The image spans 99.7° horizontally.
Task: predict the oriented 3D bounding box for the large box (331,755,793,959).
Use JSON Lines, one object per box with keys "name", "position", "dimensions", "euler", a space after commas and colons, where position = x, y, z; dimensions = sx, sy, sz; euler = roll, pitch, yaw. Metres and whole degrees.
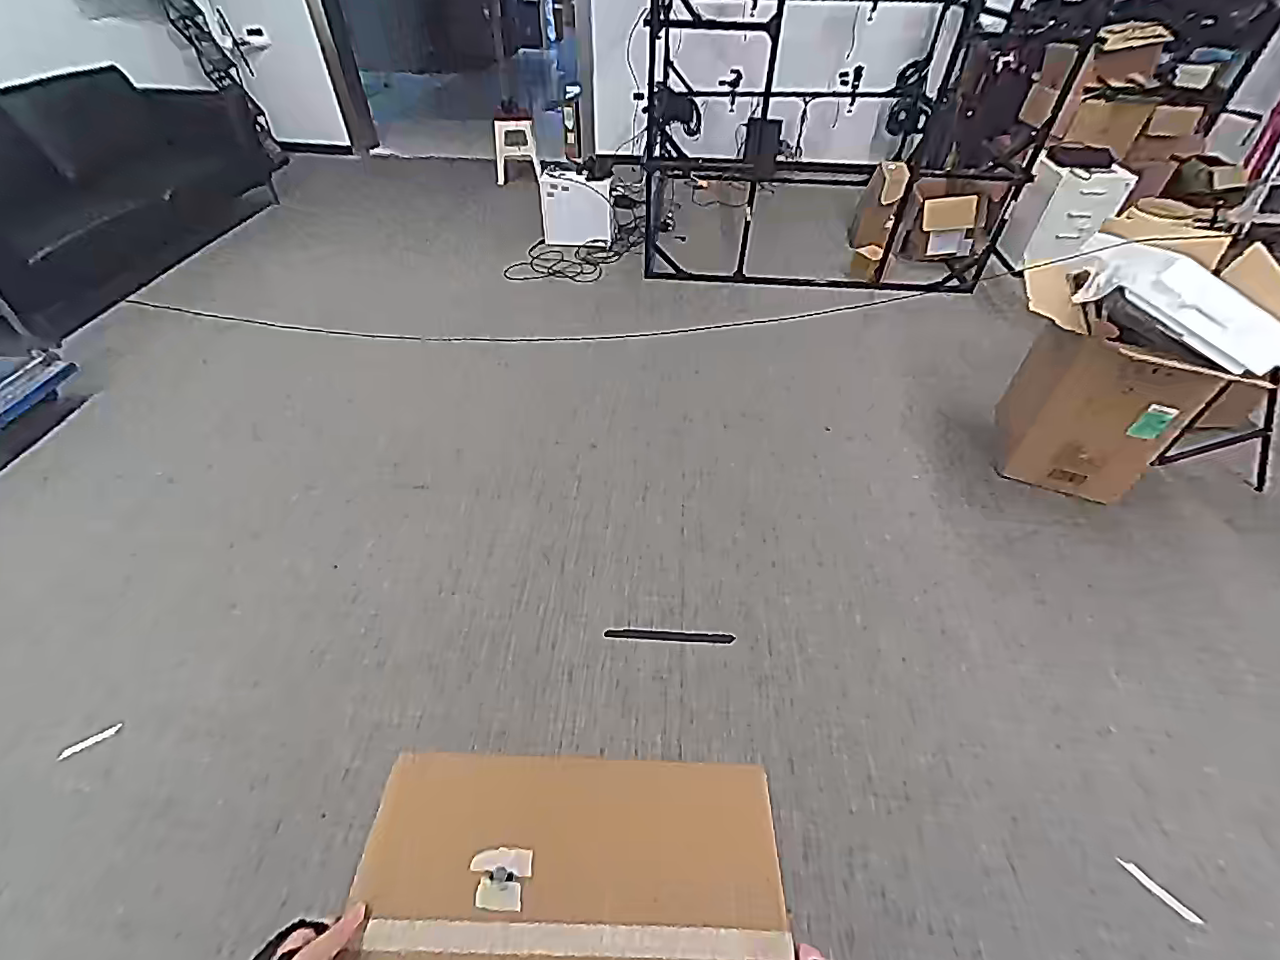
{"name": "large box", "position": [-0.067, 0.512, 0.571], "dimensions": [0.408, 0.320, 0.320], "euler": [2, 42, 0]}
